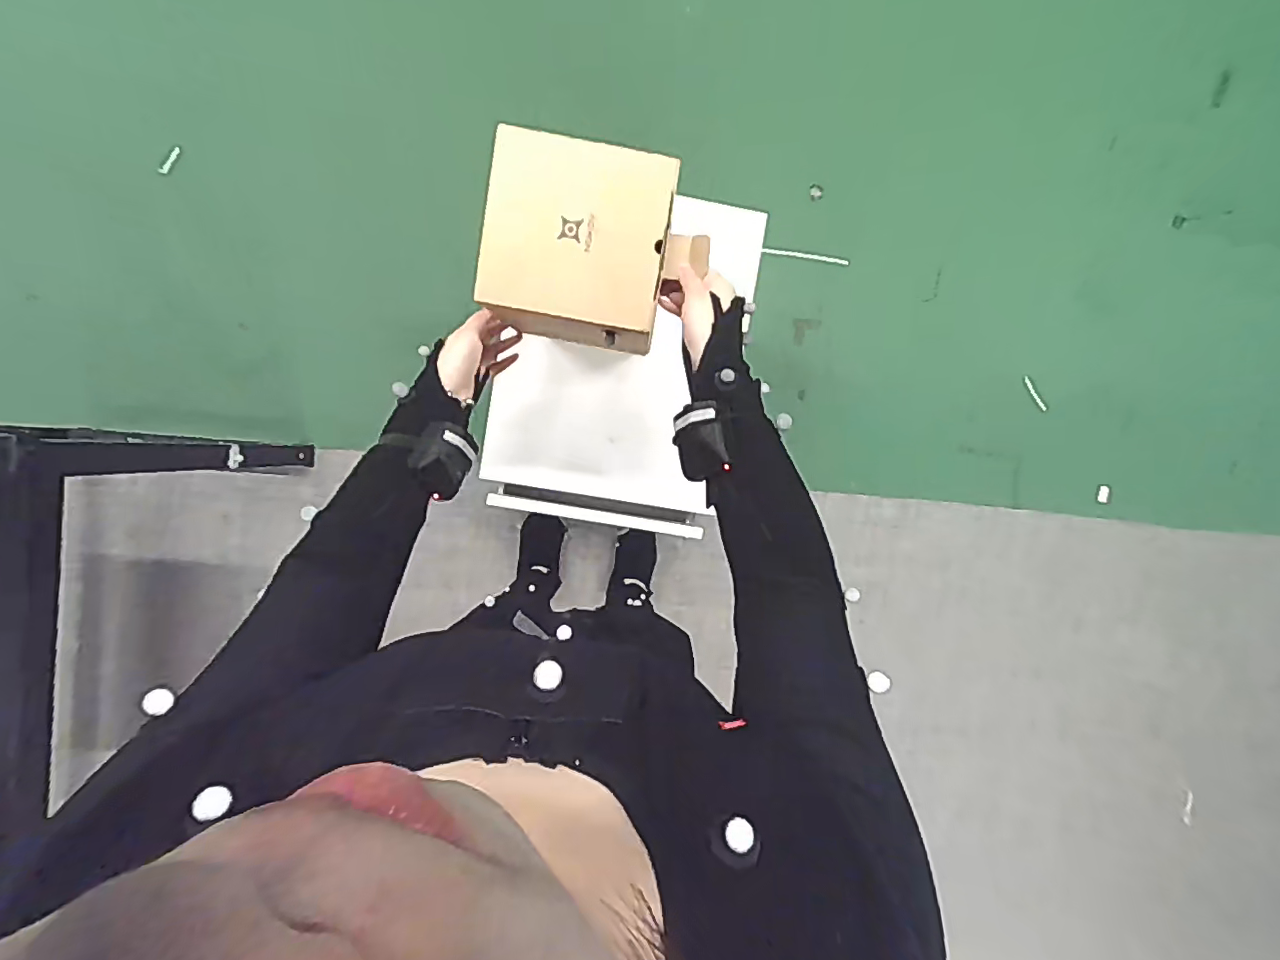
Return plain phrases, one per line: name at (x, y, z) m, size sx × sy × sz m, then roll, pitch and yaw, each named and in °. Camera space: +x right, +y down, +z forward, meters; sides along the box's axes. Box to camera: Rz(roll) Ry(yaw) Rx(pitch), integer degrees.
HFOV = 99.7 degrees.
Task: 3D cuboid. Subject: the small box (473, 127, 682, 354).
small box at (-0.060, -0.238, 0.583) m, size 0.179 × 0.176 × 0.168 m, roll 9°, pitch 96°, yaw -2°
